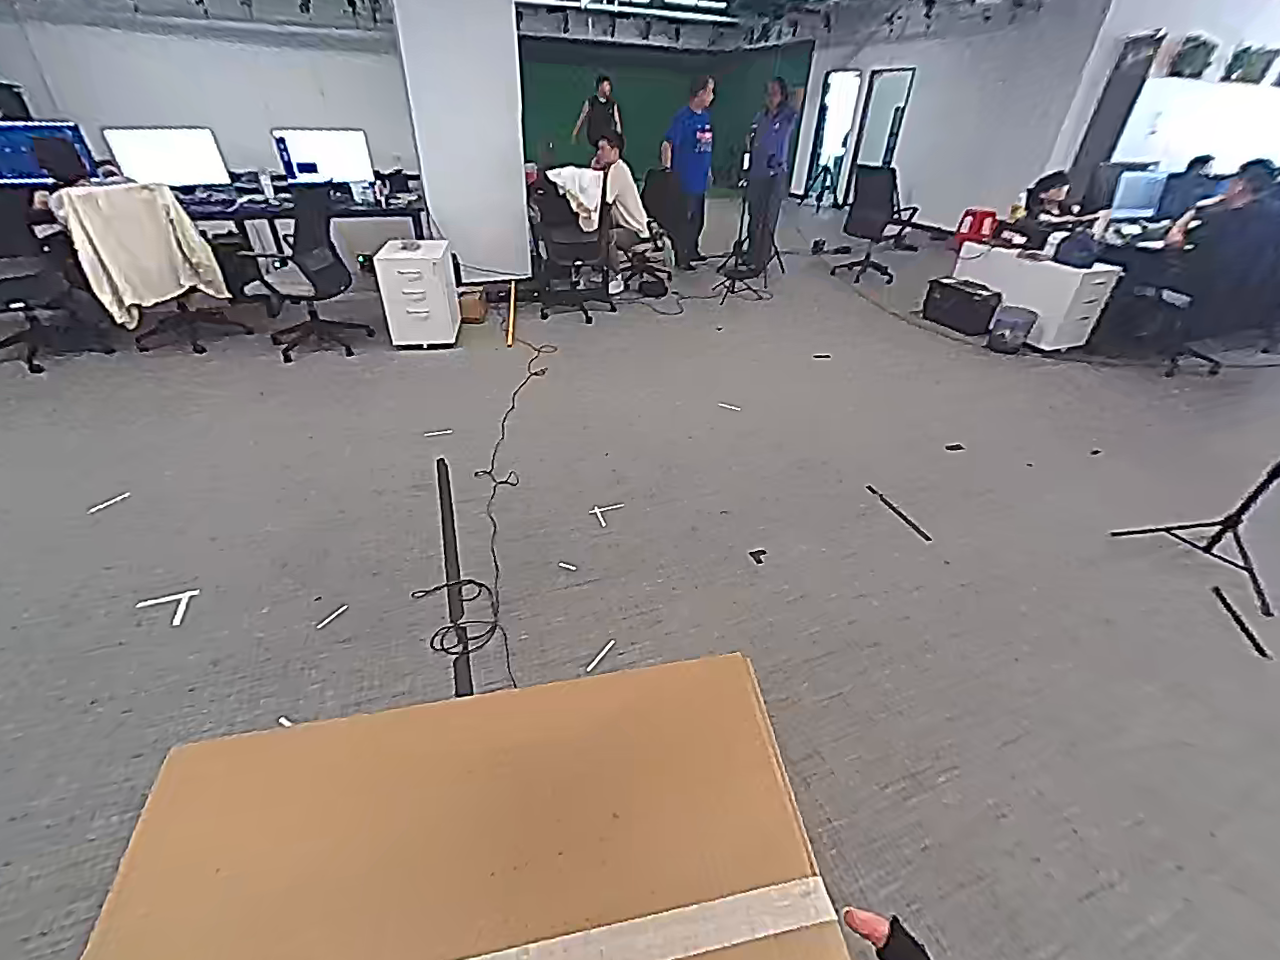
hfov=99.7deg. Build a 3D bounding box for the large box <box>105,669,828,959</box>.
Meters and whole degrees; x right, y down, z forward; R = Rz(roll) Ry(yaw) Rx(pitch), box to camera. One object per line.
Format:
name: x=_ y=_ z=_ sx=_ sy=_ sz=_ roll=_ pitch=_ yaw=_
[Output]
large box: x=-0.093 y=0.382 z=0.399 sx=0.408 sy=0.320 sz=0.320 roll=-7 pitch=45 yaw=-8
